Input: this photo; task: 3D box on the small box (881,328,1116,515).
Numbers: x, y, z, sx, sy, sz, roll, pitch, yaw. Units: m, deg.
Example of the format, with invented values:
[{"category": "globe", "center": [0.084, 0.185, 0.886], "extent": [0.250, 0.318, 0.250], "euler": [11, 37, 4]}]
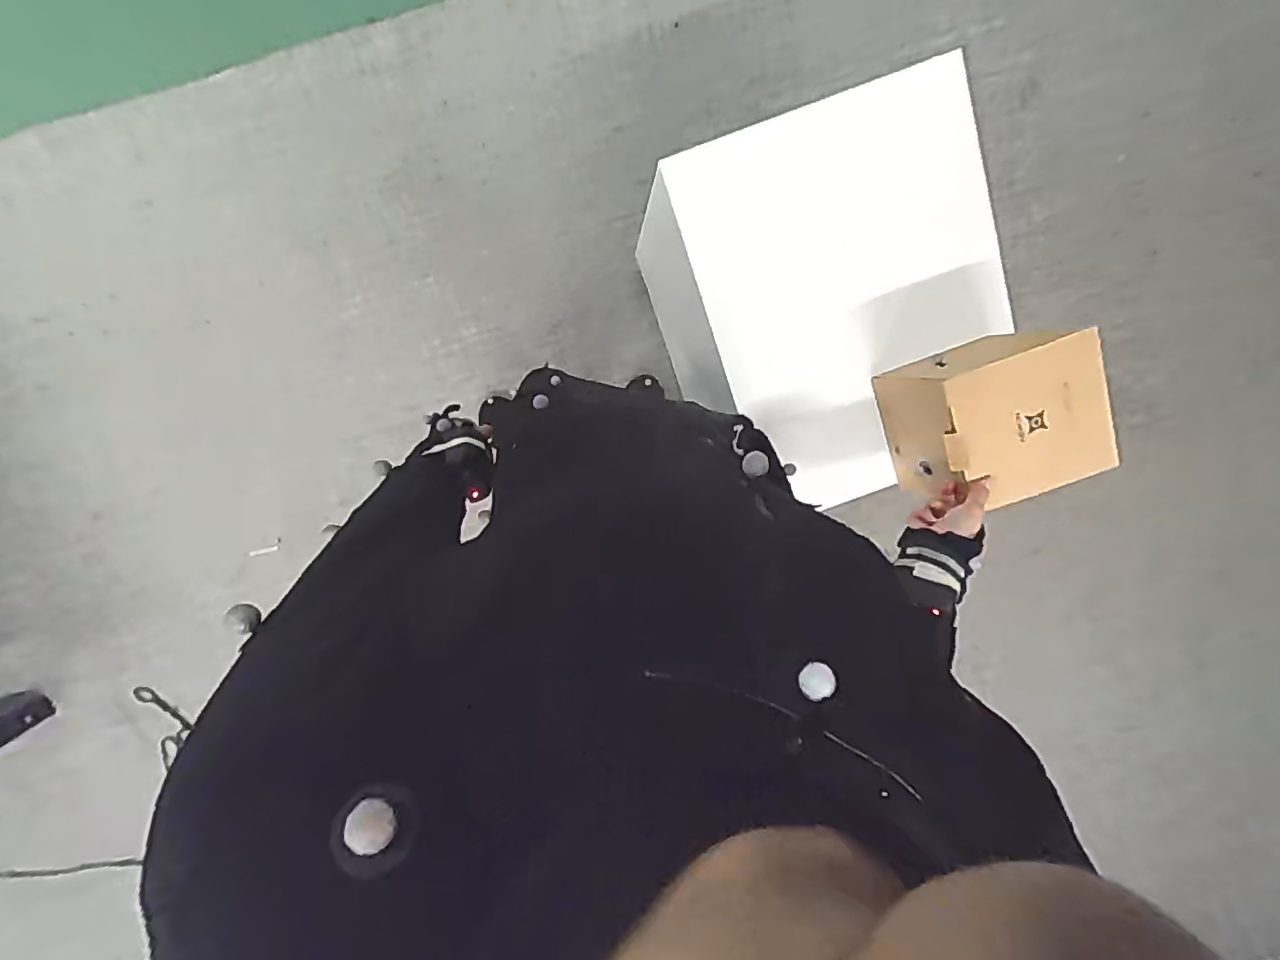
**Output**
[{"category": "small box", "center": [0.425, -0.077, 0.673], "extent": [0.179, 0.176, 0.168], "euler": [-20, 103, 1]}]
